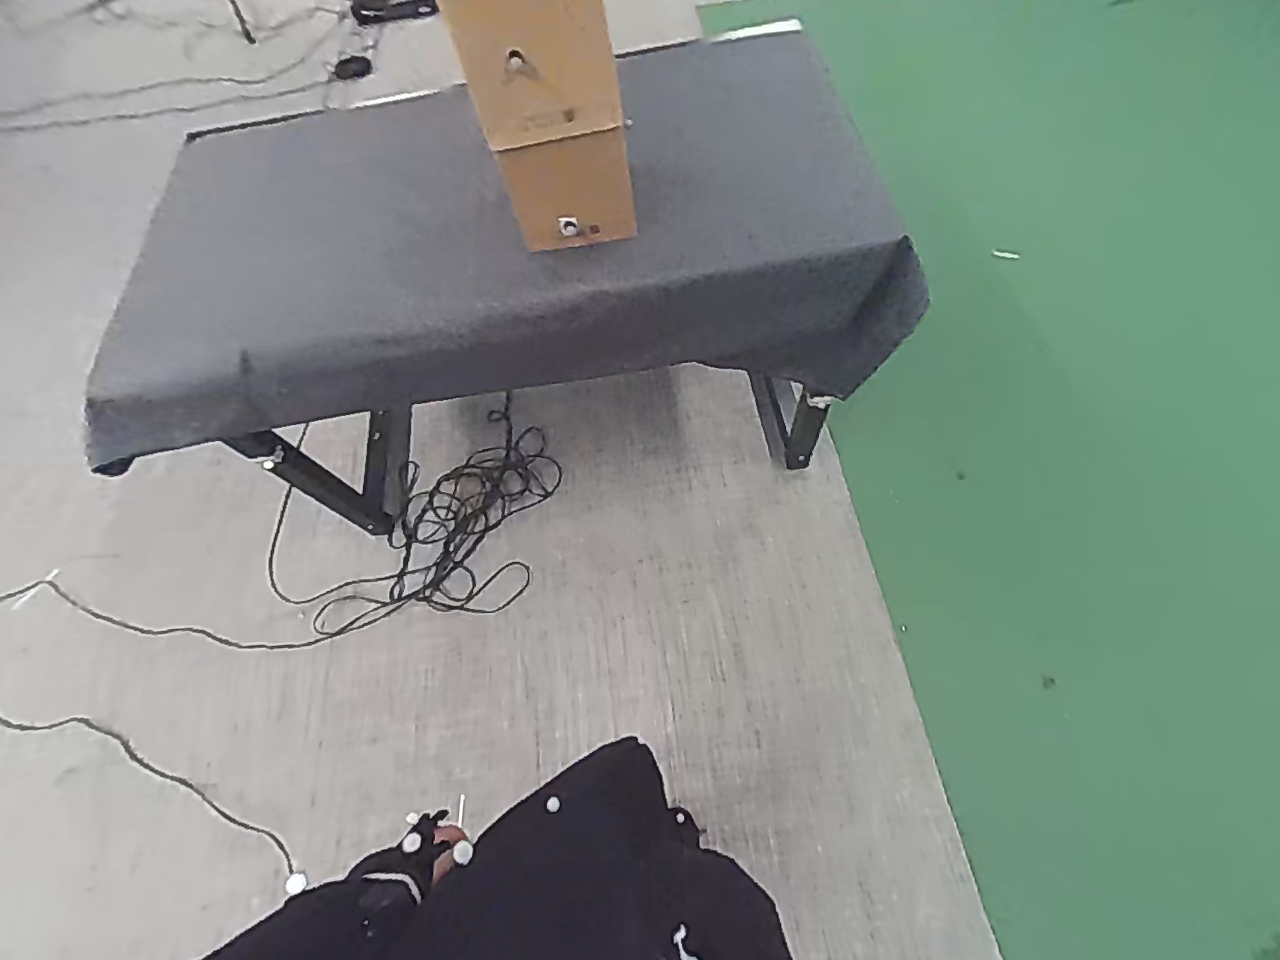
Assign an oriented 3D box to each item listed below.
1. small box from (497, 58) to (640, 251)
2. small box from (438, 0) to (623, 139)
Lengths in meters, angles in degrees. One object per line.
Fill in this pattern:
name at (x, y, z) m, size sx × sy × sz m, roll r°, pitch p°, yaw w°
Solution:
small box at (-0.097, -0.464, 0.777) m, size 0.168 × 0.176 × 0.179 m, roll -9°, pitch 64°, yaw 4°
small box at (-0.119, -0.528, 0.629) m, size 0.168 × 0.176 × 0.179 m, roll -10°, pitch 62°, yaw 3°
